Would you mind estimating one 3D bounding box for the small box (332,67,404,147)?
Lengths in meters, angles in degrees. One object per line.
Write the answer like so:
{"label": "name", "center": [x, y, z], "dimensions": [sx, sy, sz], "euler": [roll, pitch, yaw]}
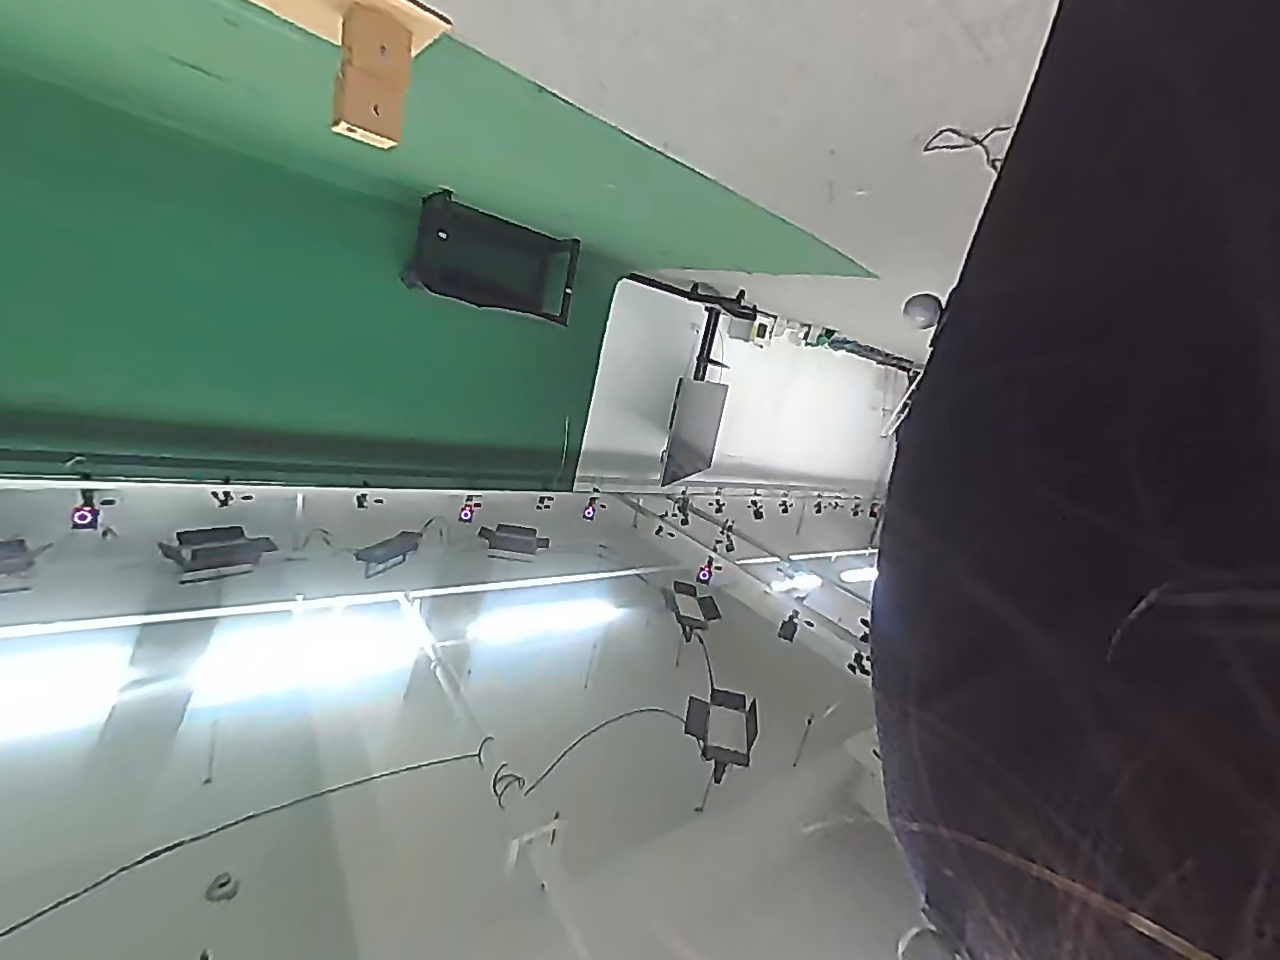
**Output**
{"label": "small box", "center": [-0.905, -1.240, 1.796], "dimensions": [0.179, 0.176, 0.168], "euler": [-3, -160, -43]}
